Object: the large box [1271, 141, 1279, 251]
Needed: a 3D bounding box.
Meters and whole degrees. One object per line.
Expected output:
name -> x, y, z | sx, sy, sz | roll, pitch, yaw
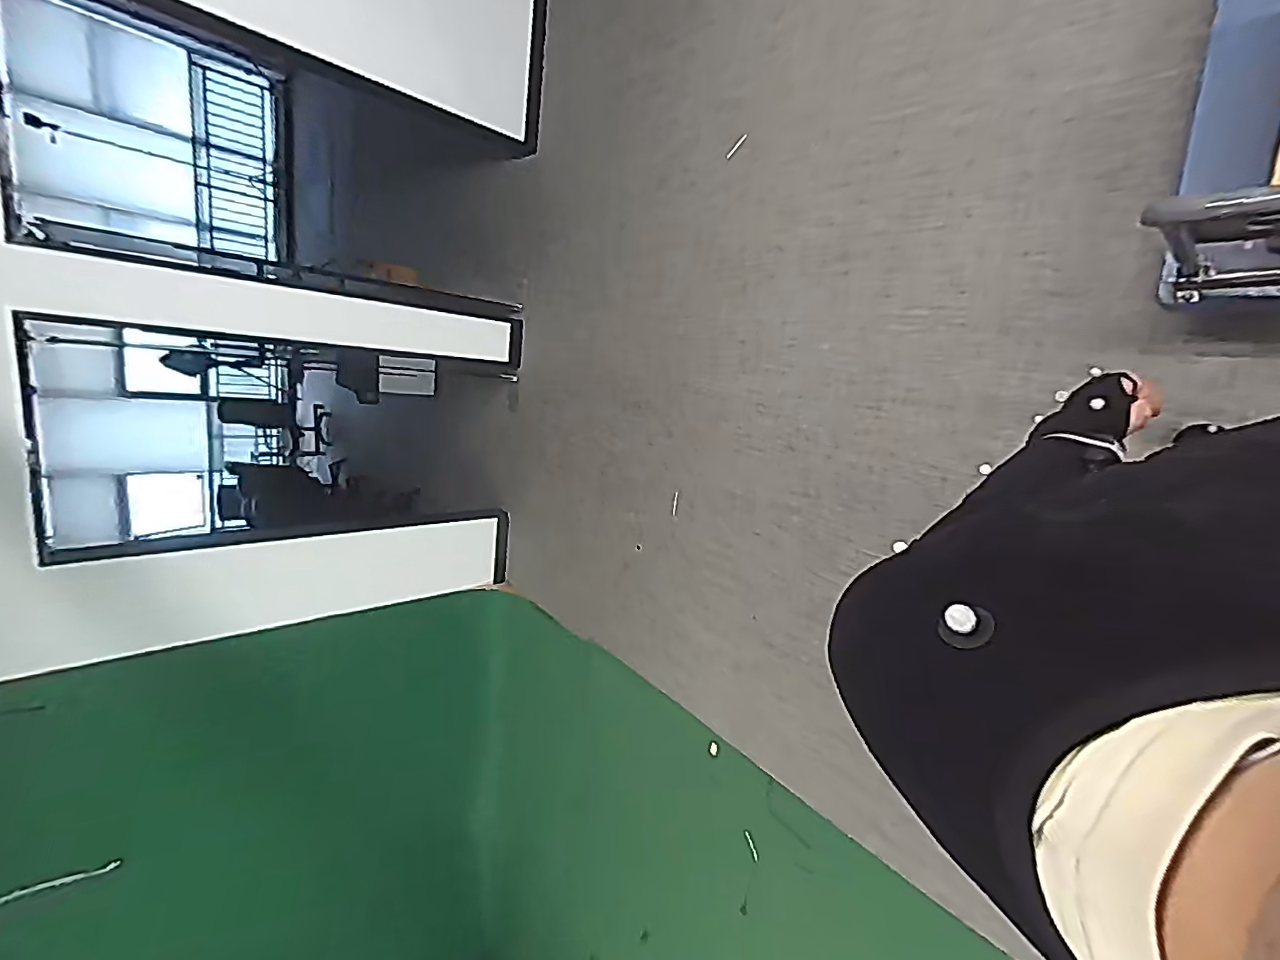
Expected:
large box -> 1.131, -0.577, 0.733 | 0.320, 0.320, 0.408 | 14, 102, 47
